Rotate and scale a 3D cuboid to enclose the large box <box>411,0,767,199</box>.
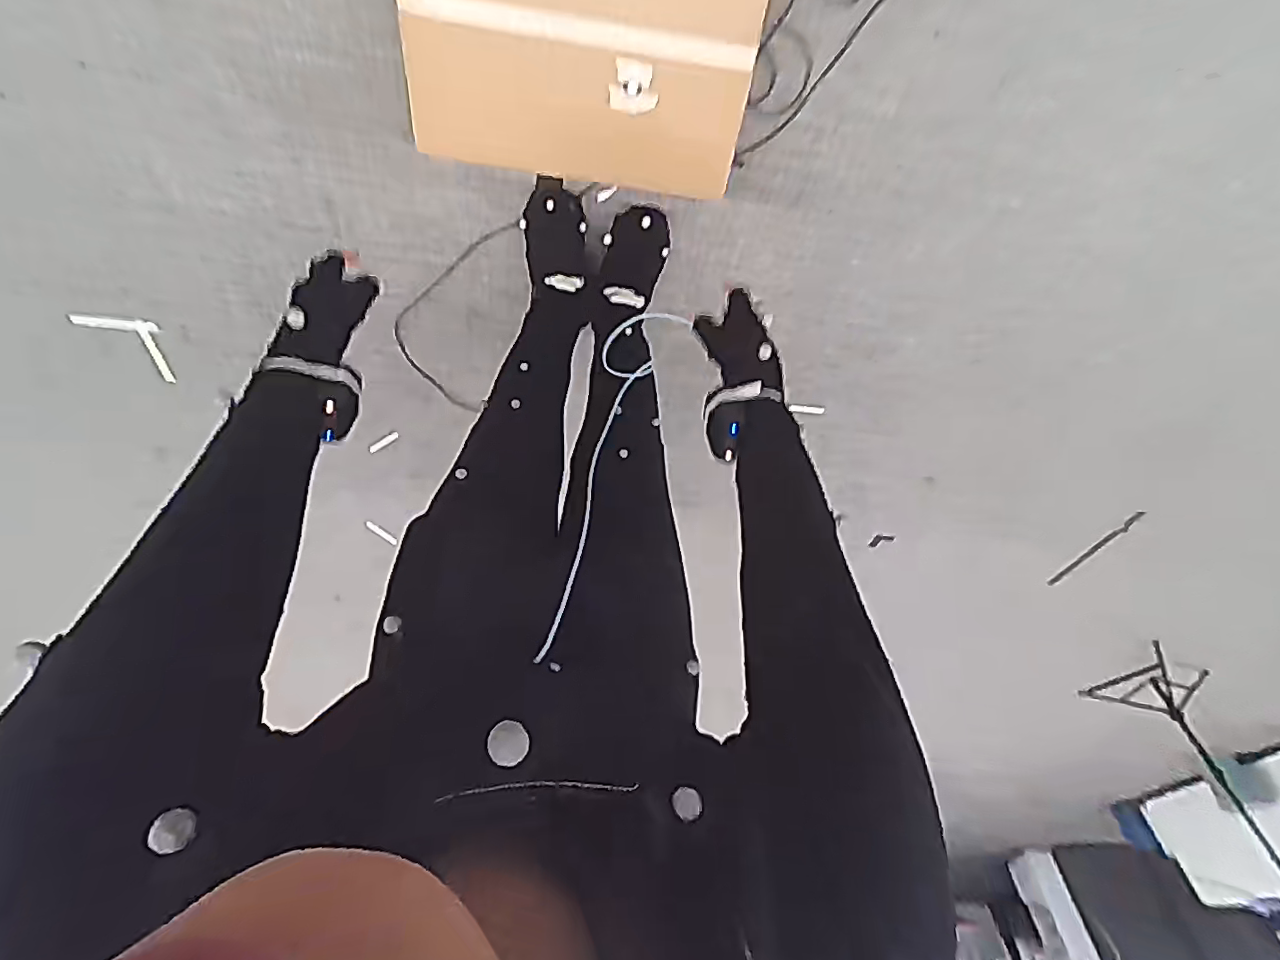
[{"bbox_3d":[-0.064,-0.616,0.732,0.408,0.320,0.320,6,134,-6],"label":"large box"}]
